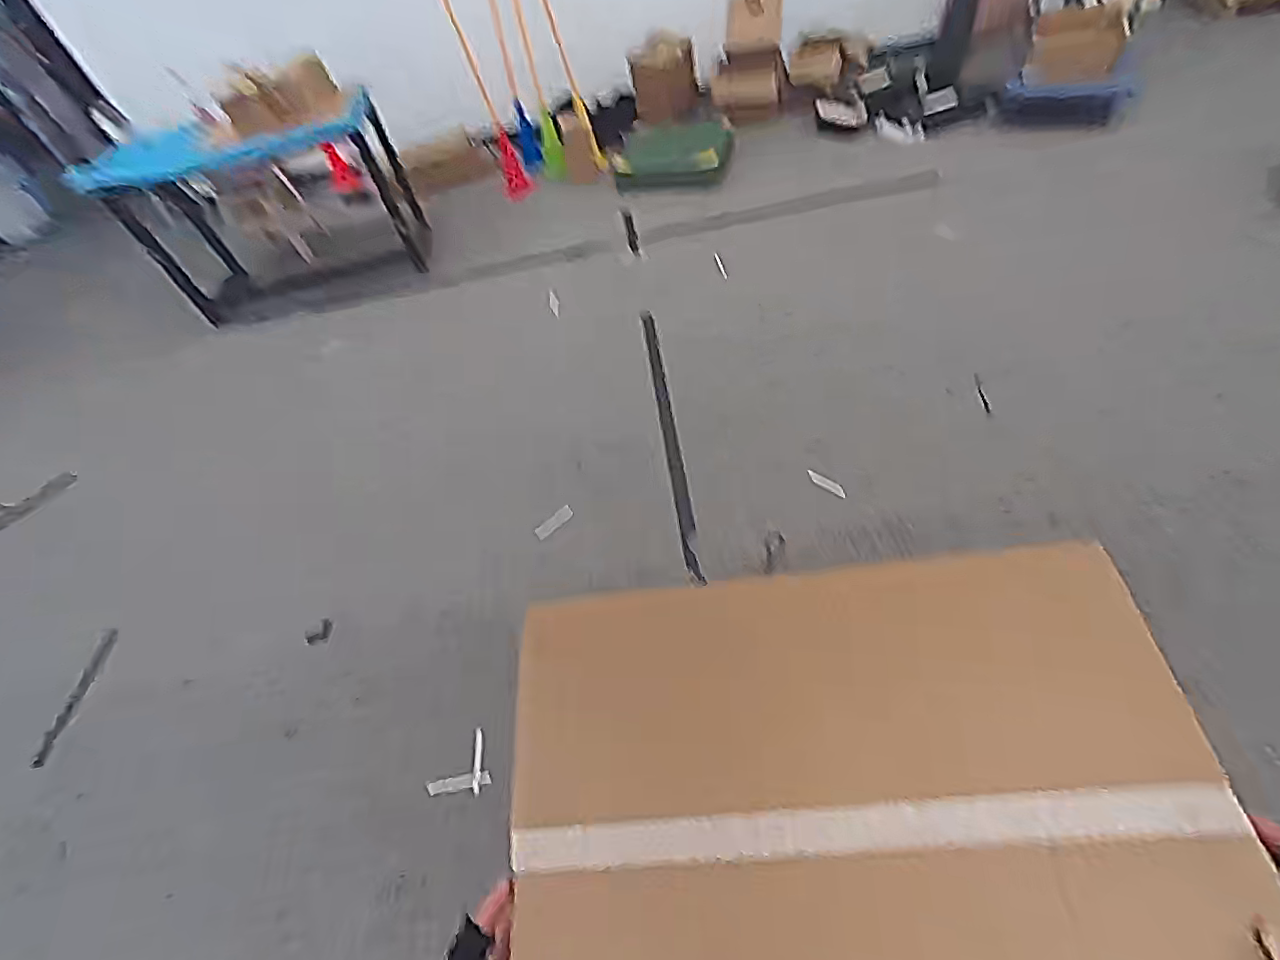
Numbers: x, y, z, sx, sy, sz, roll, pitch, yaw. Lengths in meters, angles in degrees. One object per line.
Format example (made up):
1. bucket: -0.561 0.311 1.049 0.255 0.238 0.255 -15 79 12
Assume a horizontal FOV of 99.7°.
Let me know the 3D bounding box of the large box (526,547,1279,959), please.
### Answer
1. large box: 0.148 0.279 0.453 0.408 0.320 0.320 -8 61 7
